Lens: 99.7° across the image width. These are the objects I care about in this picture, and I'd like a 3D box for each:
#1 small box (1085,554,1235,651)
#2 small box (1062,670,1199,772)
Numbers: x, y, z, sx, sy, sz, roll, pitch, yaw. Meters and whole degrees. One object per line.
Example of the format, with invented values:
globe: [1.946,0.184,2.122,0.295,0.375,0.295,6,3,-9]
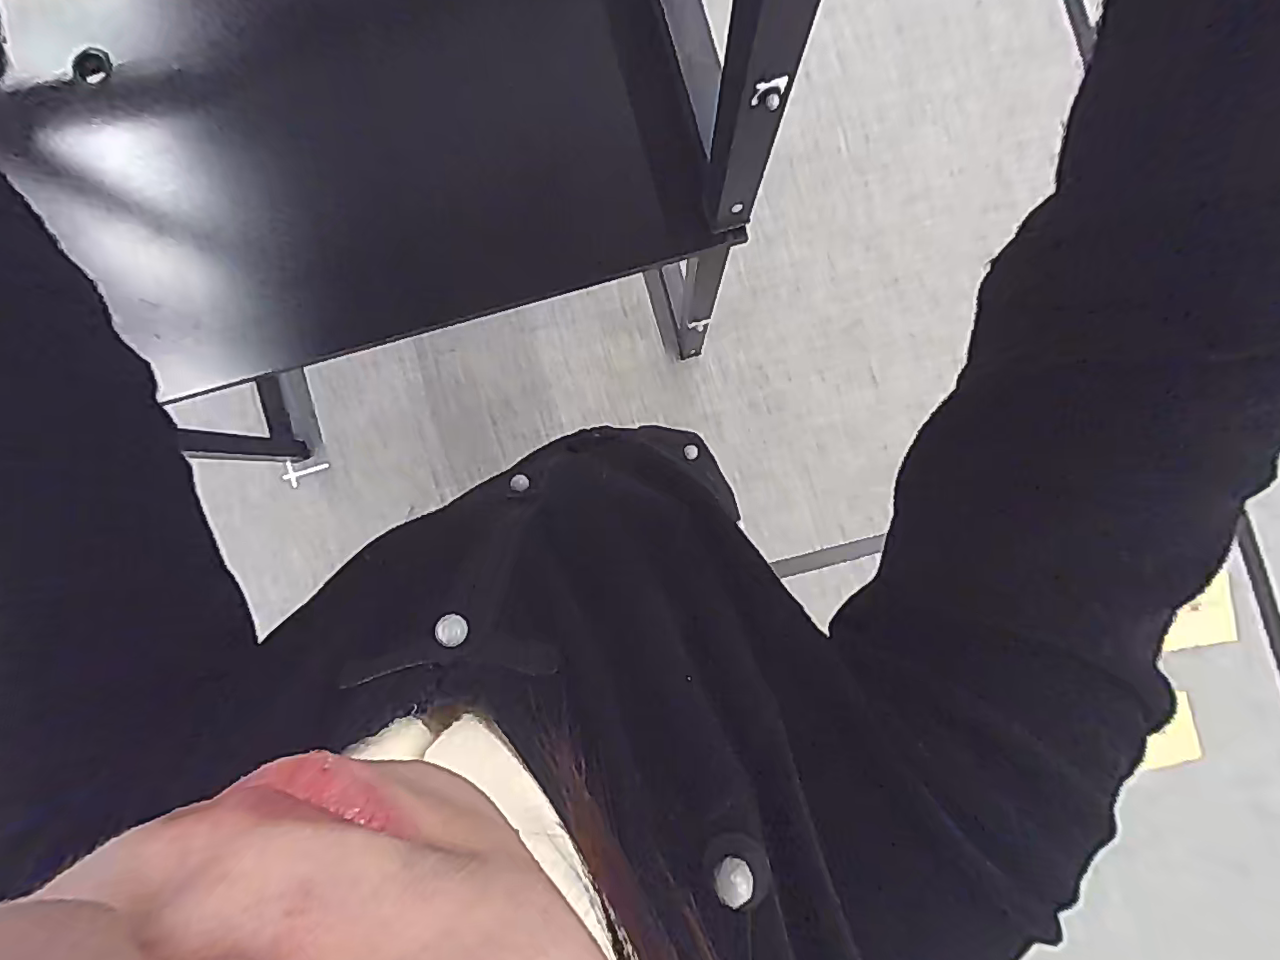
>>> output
small box: [1.136,0.265,1.201,0.179,0.176,0.168,-9,90,1]
small box: [1.227,0.598,1.364,0.179,0.176,0.168,-14,89,2]
